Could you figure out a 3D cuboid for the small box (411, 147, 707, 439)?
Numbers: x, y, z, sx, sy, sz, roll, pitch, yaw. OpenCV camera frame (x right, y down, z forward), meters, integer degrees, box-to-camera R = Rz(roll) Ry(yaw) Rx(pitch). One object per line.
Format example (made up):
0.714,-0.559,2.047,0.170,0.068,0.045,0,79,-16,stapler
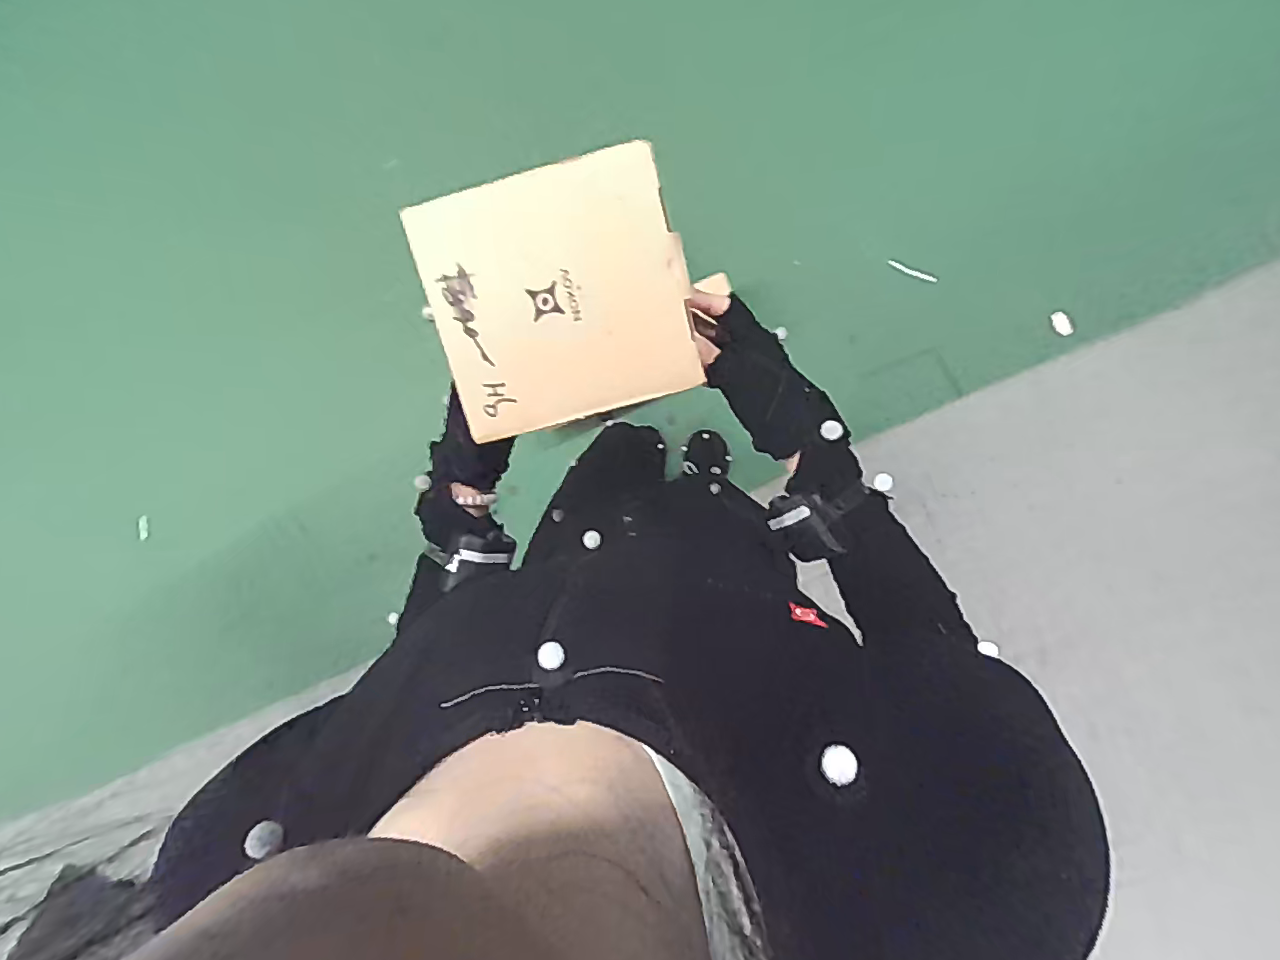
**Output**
-0.056,-0.142,0.458,0.179,0.176,0.168,-15,100,2,small box
